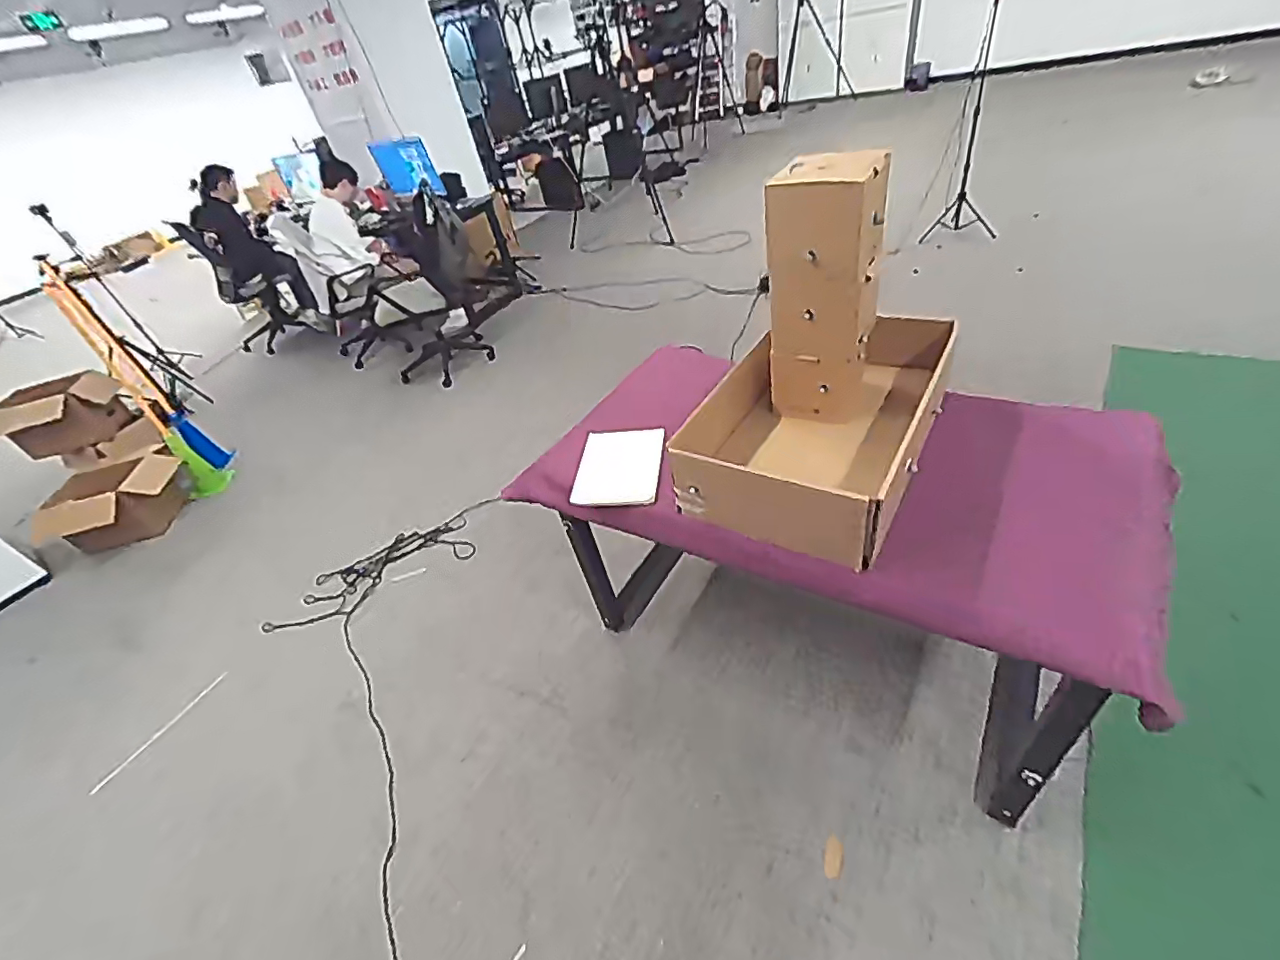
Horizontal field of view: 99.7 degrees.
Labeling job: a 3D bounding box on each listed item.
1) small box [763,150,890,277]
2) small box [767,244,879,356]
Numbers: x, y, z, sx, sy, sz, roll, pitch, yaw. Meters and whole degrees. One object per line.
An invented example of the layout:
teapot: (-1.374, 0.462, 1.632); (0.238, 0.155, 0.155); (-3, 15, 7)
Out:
small box: (0.345, -0.496, 1.012); (0.179, 0.176, 0.168); (17, 49, 30)
small box: (0.377, -0.373, 1.116); (0.179, 0.176, 0.168); (14, 48, 29)
